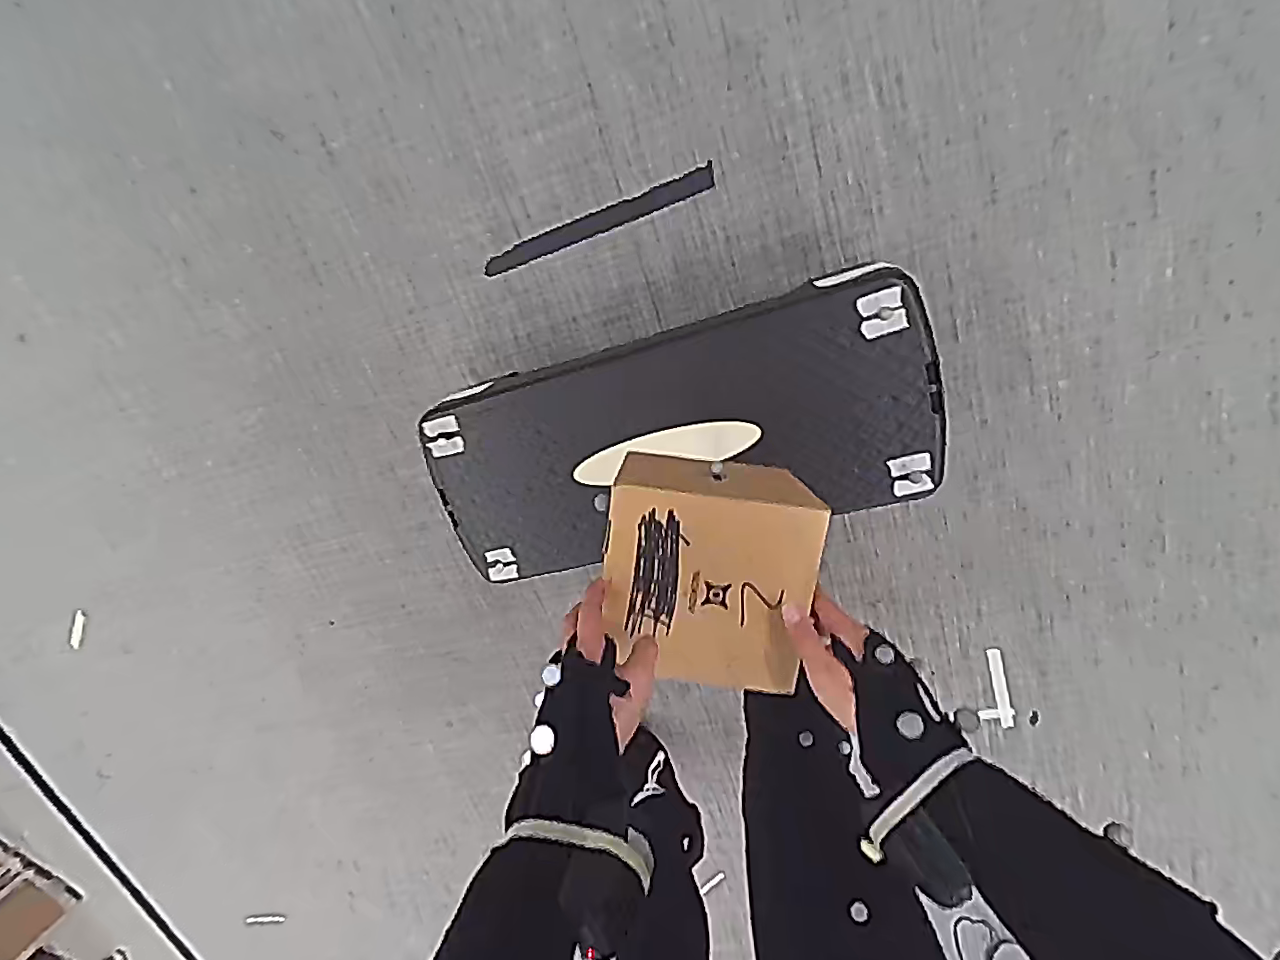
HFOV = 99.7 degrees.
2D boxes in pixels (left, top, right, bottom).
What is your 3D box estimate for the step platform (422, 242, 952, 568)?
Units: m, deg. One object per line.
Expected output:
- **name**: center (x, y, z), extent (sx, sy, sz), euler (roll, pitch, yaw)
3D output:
- **step platform**: center (0.049, -0.088, 0.764), extent (0.684, 0.204, 0.286), euler (-14, 107, 15)
